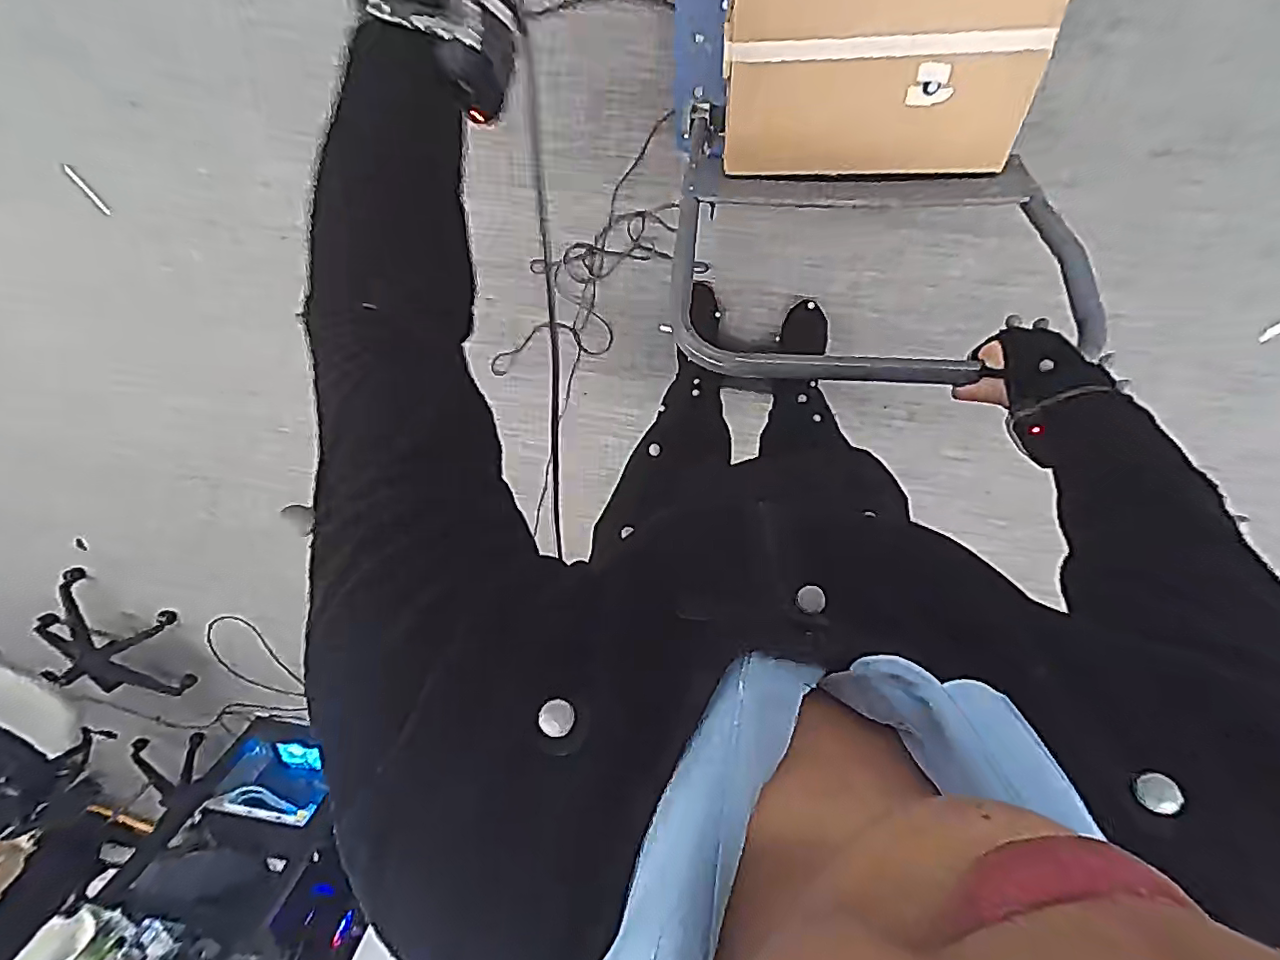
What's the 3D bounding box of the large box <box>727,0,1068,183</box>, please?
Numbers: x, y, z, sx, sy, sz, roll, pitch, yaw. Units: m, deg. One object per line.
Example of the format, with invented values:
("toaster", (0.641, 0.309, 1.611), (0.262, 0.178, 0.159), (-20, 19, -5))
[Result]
("large box", (0.336, -0.667, 0.803), (0.408, 0.320, 0.320), (3, 138, 6))
